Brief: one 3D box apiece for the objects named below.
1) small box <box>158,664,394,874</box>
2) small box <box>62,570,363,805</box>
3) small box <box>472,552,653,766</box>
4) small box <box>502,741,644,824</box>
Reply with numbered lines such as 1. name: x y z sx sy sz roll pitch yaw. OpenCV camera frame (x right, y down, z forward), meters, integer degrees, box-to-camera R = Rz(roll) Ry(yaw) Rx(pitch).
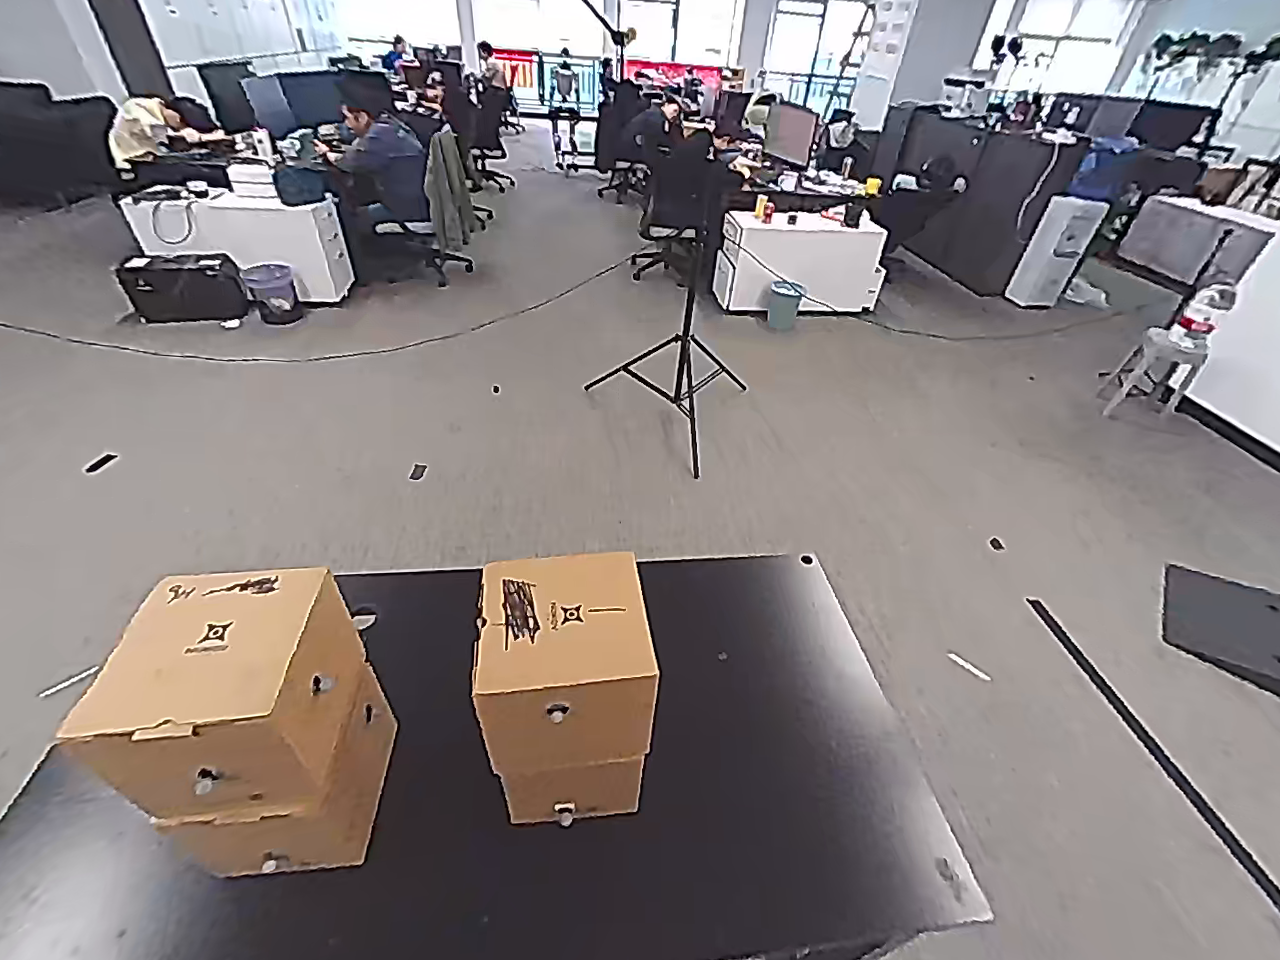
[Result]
1. small box: -0.421 0.353 0.668 0.168 0.176 0.179 -1 40 -6
2. small box: -0.415 0.220 0.571 0.168 0.176 0.179 -2 40 -9
3. small box: -0.085 0.205 0.622 0.179 0.176 0.168 -3 39 -9
4. small box: -0.090 0.330 0.729 0.168 0.176 0.179 -3 40 -7
